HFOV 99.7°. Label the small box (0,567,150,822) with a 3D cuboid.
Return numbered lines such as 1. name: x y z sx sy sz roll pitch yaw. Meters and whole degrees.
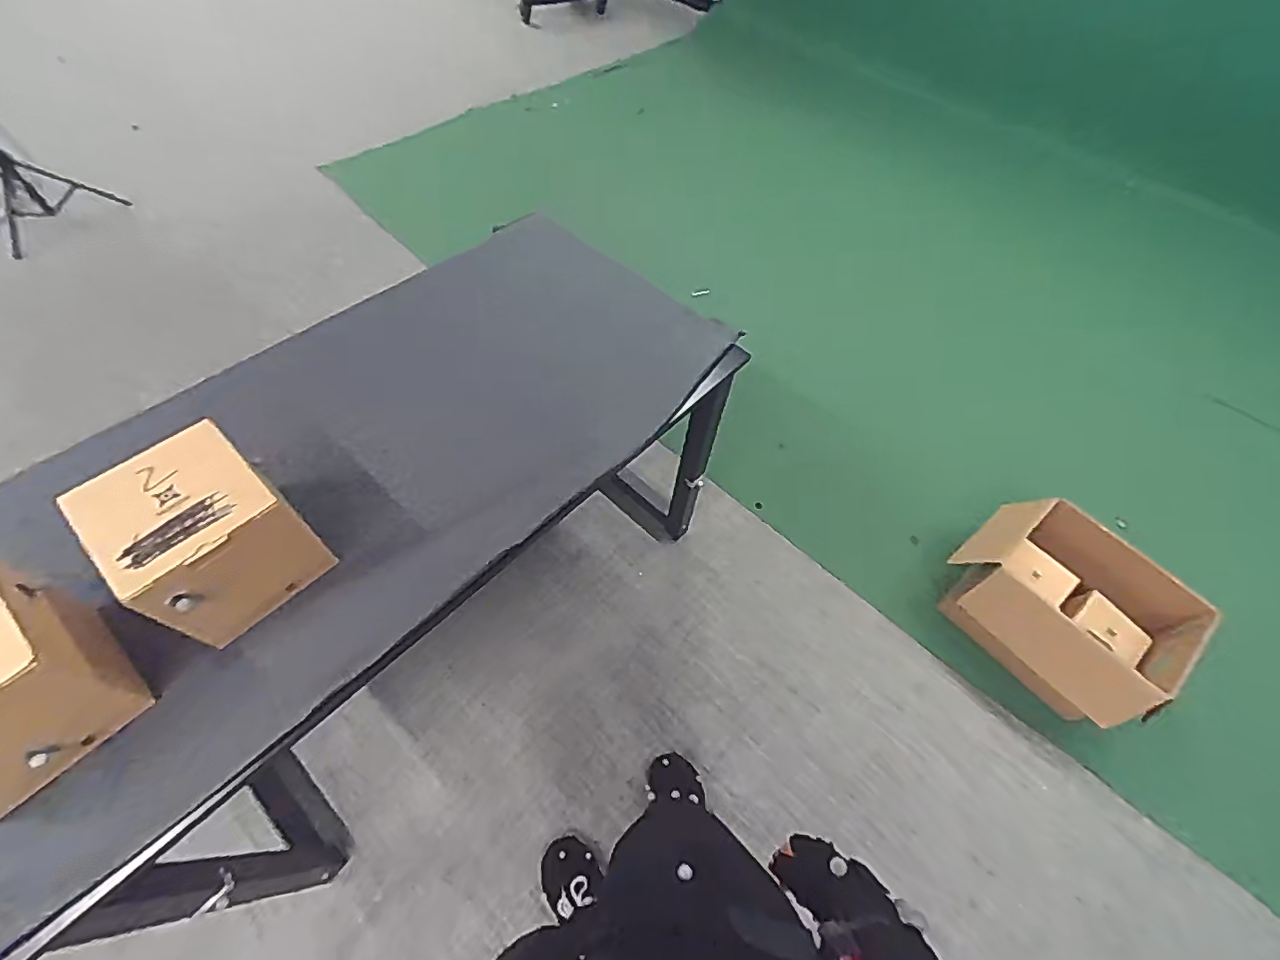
1. small box: -0.676 0.221 0.555 0.179 0.176 0.168 37 61 19
